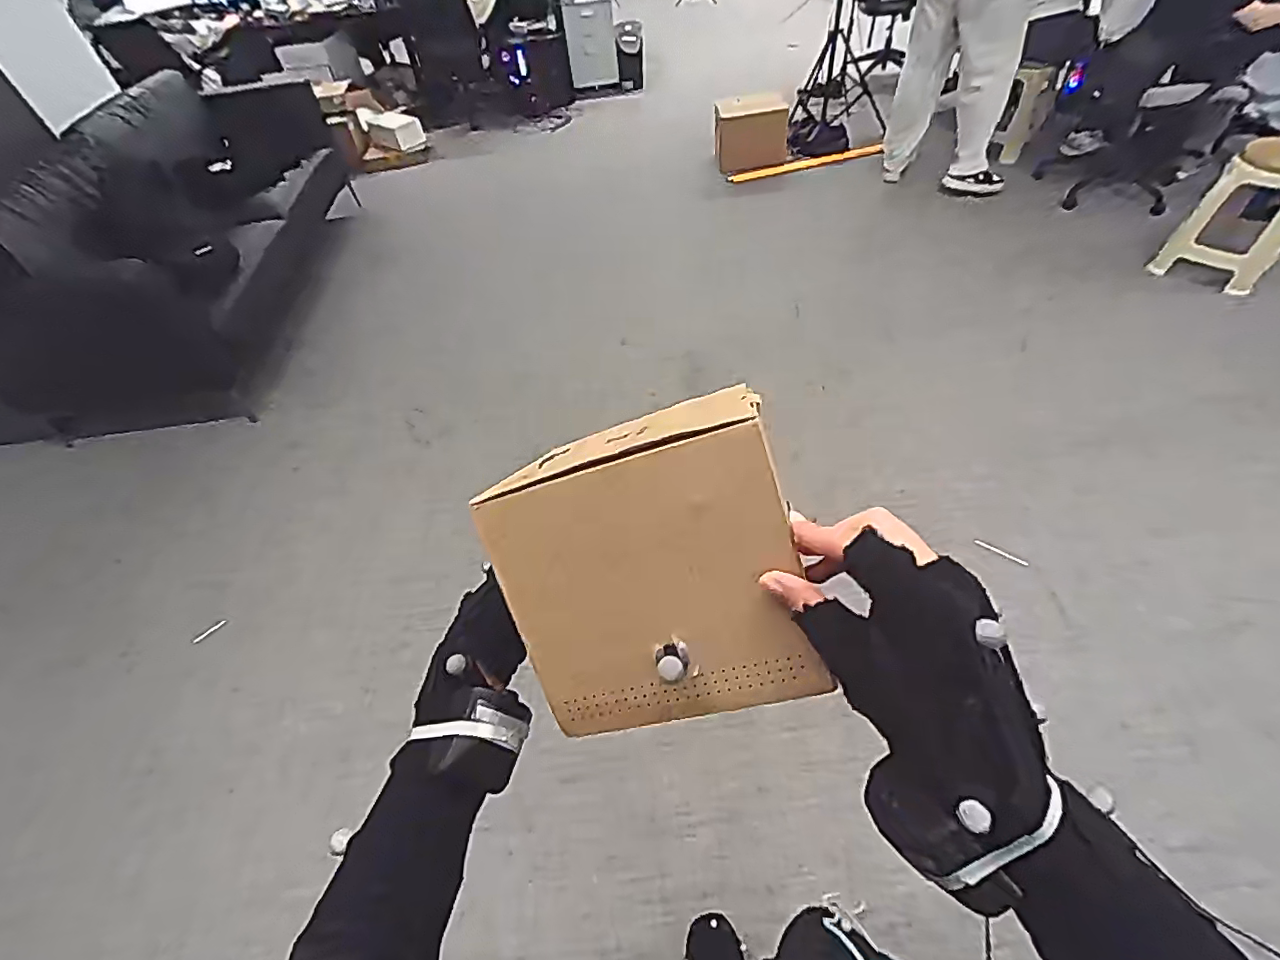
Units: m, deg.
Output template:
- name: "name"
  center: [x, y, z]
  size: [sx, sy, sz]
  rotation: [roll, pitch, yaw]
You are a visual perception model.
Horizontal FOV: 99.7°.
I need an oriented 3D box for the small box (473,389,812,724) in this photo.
- name: "small box"
  center: [0.018, 0.047, 0.397]
  size: [0.179, 0.176, 0.168]
  rotation: [-17, 11, 15]
